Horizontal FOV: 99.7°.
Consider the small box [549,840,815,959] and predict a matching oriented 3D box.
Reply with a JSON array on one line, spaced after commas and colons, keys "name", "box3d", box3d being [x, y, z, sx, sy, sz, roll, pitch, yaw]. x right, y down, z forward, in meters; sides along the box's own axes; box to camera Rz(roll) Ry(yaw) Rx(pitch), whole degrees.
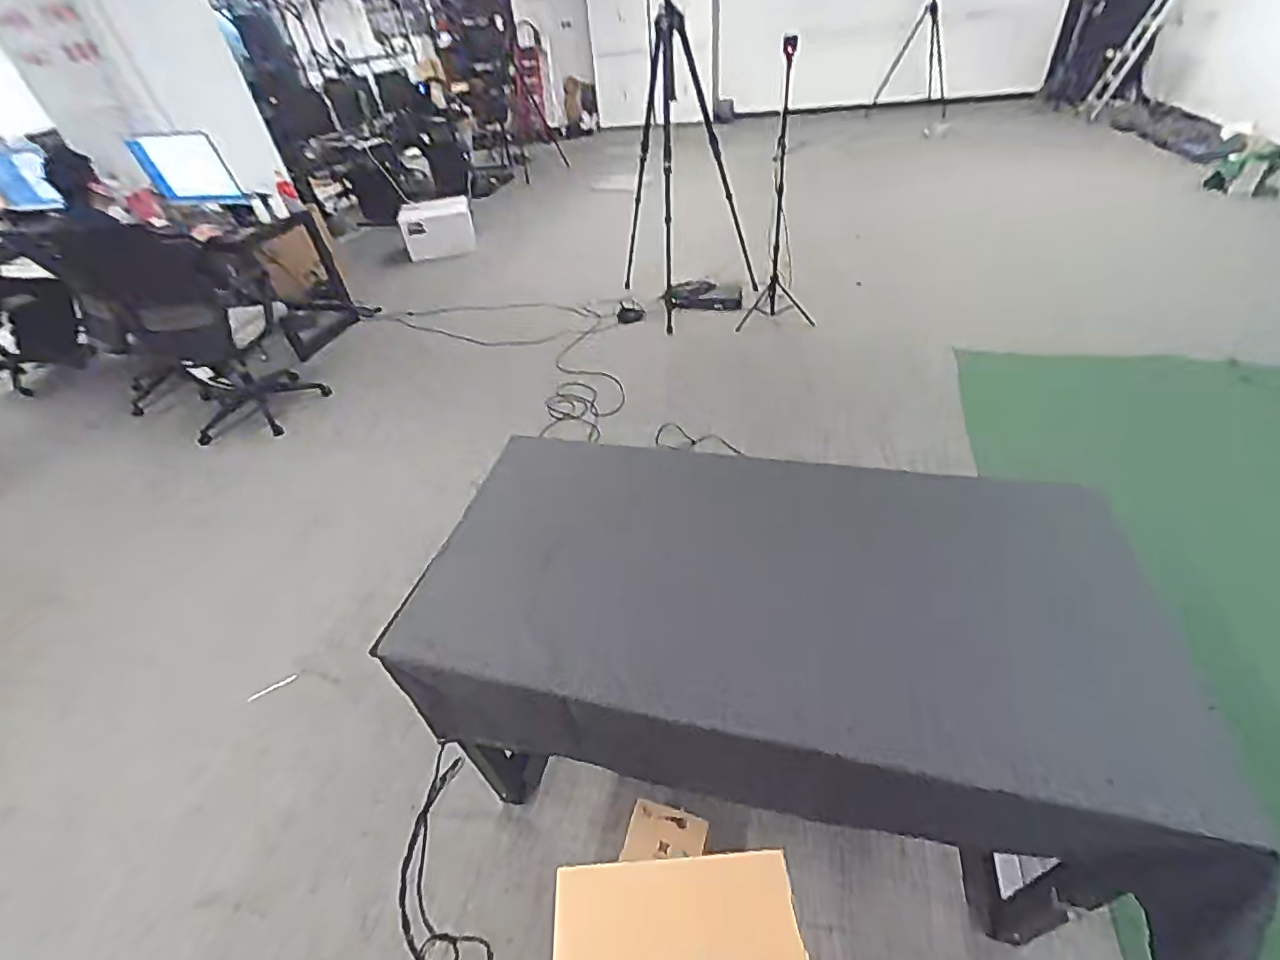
[{"name": "small box", "box3d": [0.031, 0.390, 0.389, 0.179, 0.176, 0.168, -3, 38, -3]}]
